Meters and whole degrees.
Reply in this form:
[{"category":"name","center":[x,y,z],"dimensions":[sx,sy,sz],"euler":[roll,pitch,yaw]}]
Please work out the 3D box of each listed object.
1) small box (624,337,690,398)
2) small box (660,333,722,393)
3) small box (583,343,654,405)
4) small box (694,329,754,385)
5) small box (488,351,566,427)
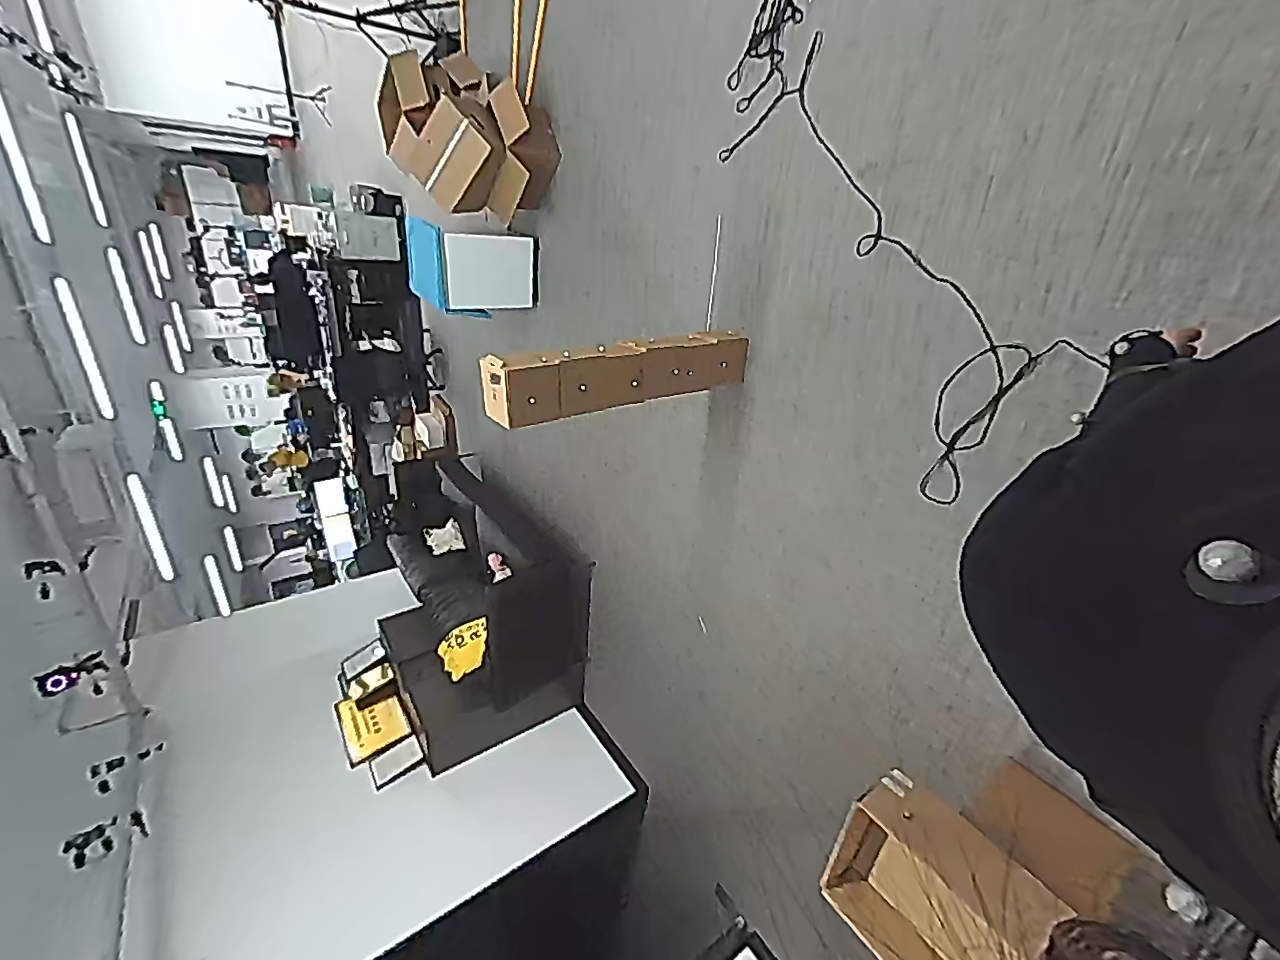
[{"category":"small box","center":[0.057,-0.396,1.877],"dimensions":[0.168,0.176,0.179],"euler":[30,125,48]},{"category":"small box","center":[0.181,-0.431,1.978],"dimensions":[0.168,0.176,0.179],"euler":[32,127,46]},{"category":"small box","center":[-0.074,-0.355,1.789],"dimensions":[0.179,0.176,0.168],"euler":[29,125,47]},{"category":"small box","center":[0.315,-0.474,2.062],"dimensions":[0.168,0.176,0.179],"euler":[32,127,47]},{"category":"small box","center":[-0.331,-0.276,1.601],"dimensions":[0.168,0.176,0.179],"euler":[31,129,45]}]
